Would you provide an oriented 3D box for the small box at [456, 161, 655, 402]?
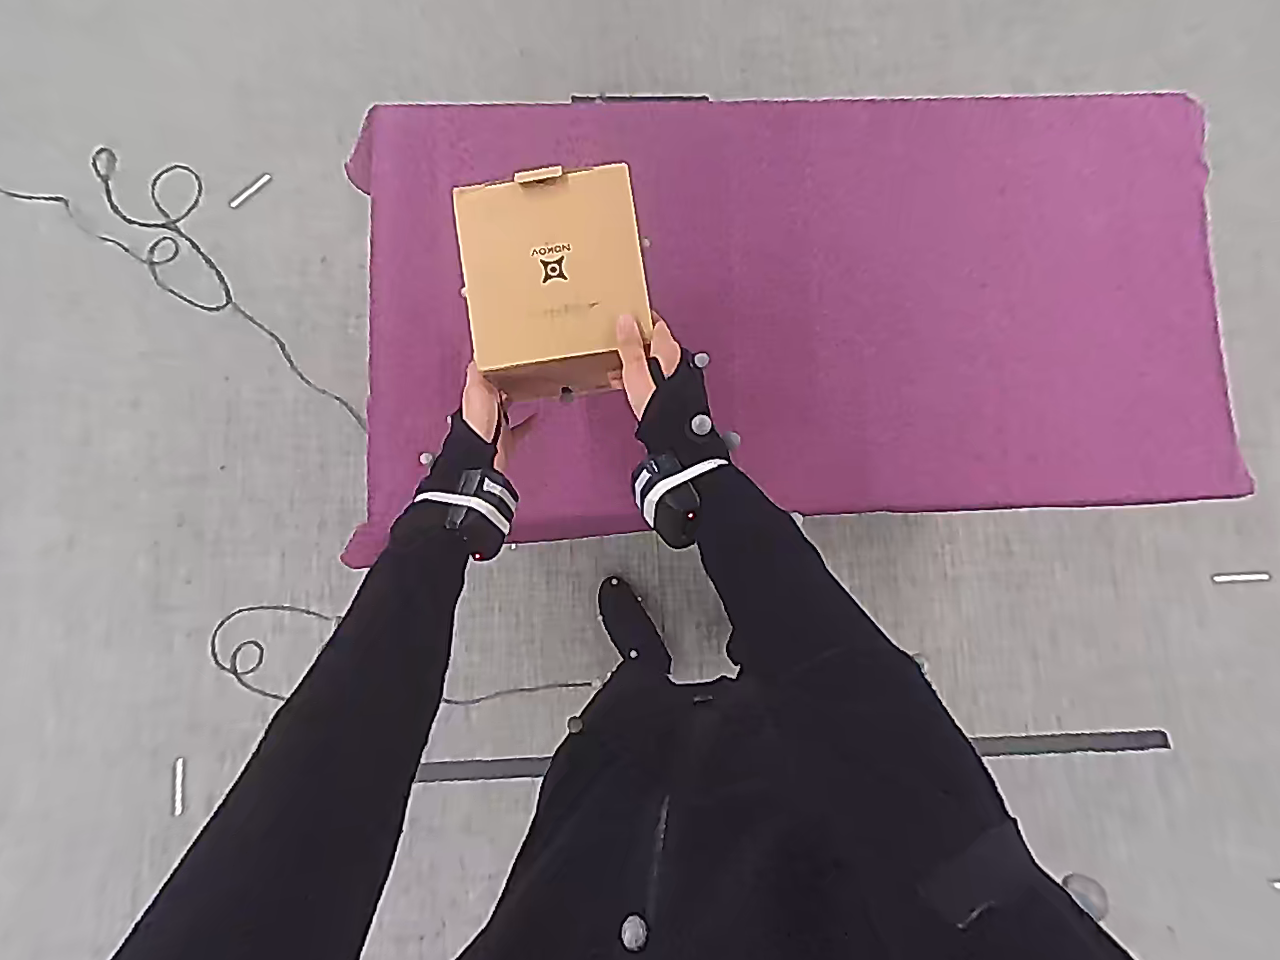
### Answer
[{"bbox_3d":[-0.078,-0.191,0.566,0.168,0.176,0.179,-8,87,0],"label":"small box"}]
